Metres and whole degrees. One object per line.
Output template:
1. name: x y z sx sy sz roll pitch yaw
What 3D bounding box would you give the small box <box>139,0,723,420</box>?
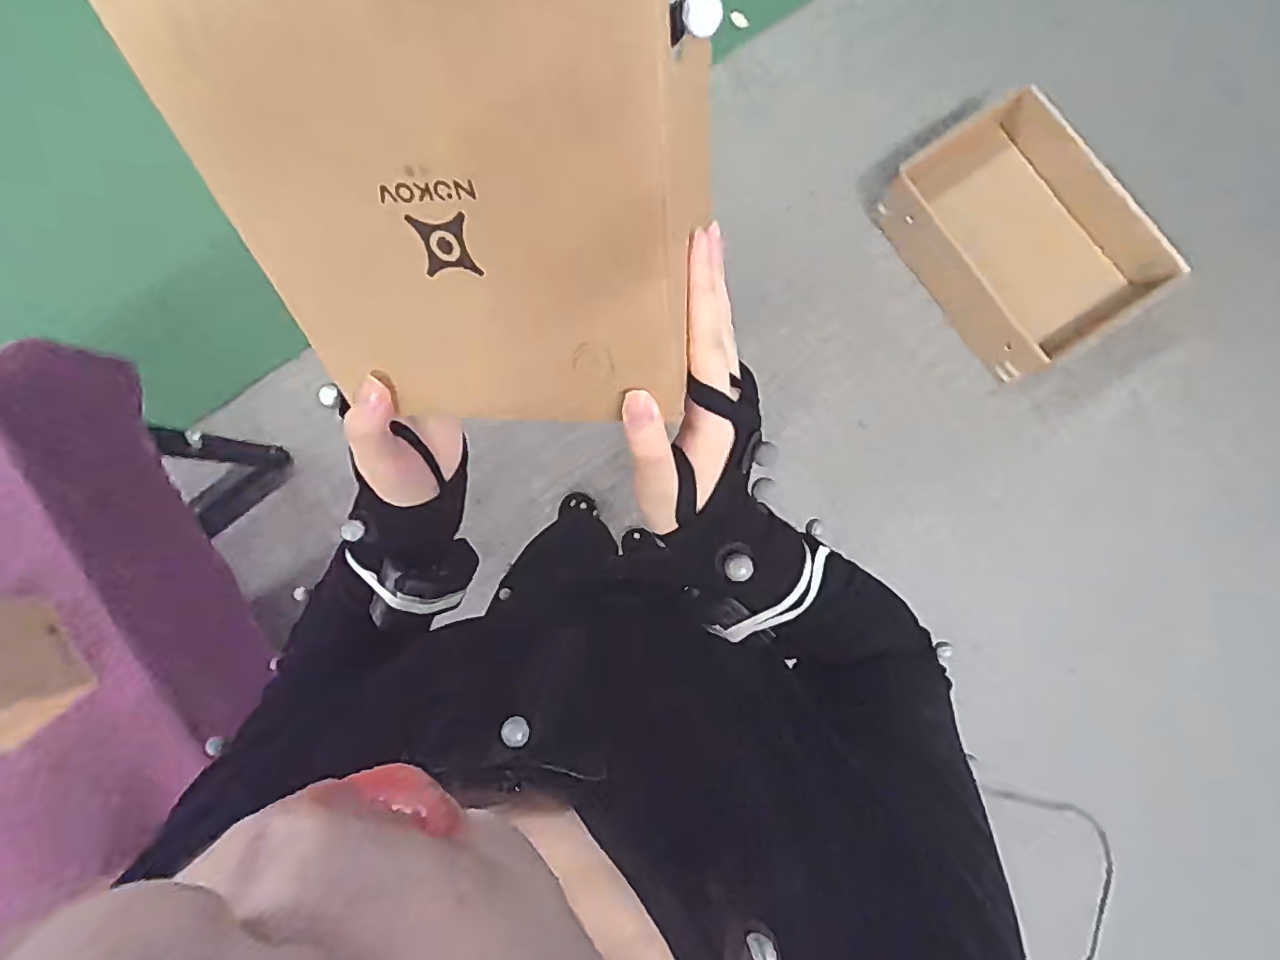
1. small box: -0.050 -0.152 0.252 0.168 0.179 0.176 4 48 11

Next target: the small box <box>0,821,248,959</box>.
1. small box: -0.689 0.614 0.724 0.179 0.176 0.168 -36 85 1

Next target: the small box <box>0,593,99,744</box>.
1. small box: -0.946 0.283 0.762 0.179 0.176 0.168 -38 86 2
